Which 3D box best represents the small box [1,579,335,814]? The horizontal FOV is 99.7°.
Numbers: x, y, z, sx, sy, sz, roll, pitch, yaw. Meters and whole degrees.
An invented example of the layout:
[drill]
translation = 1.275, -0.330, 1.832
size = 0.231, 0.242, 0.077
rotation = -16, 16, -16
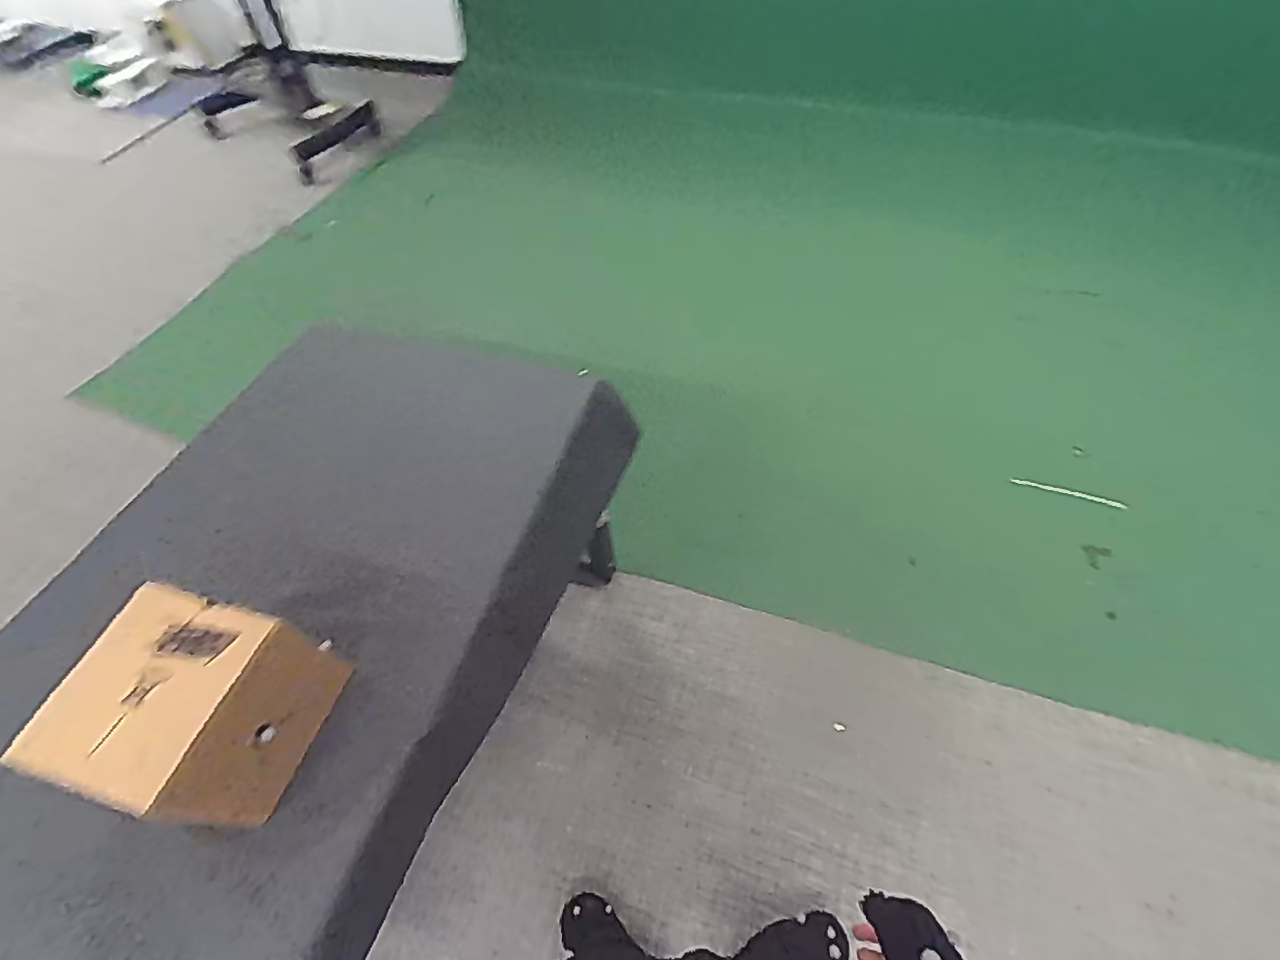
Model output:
[small box]
translation = -0.465, 0.233, 0.576
size = 0.168, 0.176, 0.179
rotation = 10, 55, 8
